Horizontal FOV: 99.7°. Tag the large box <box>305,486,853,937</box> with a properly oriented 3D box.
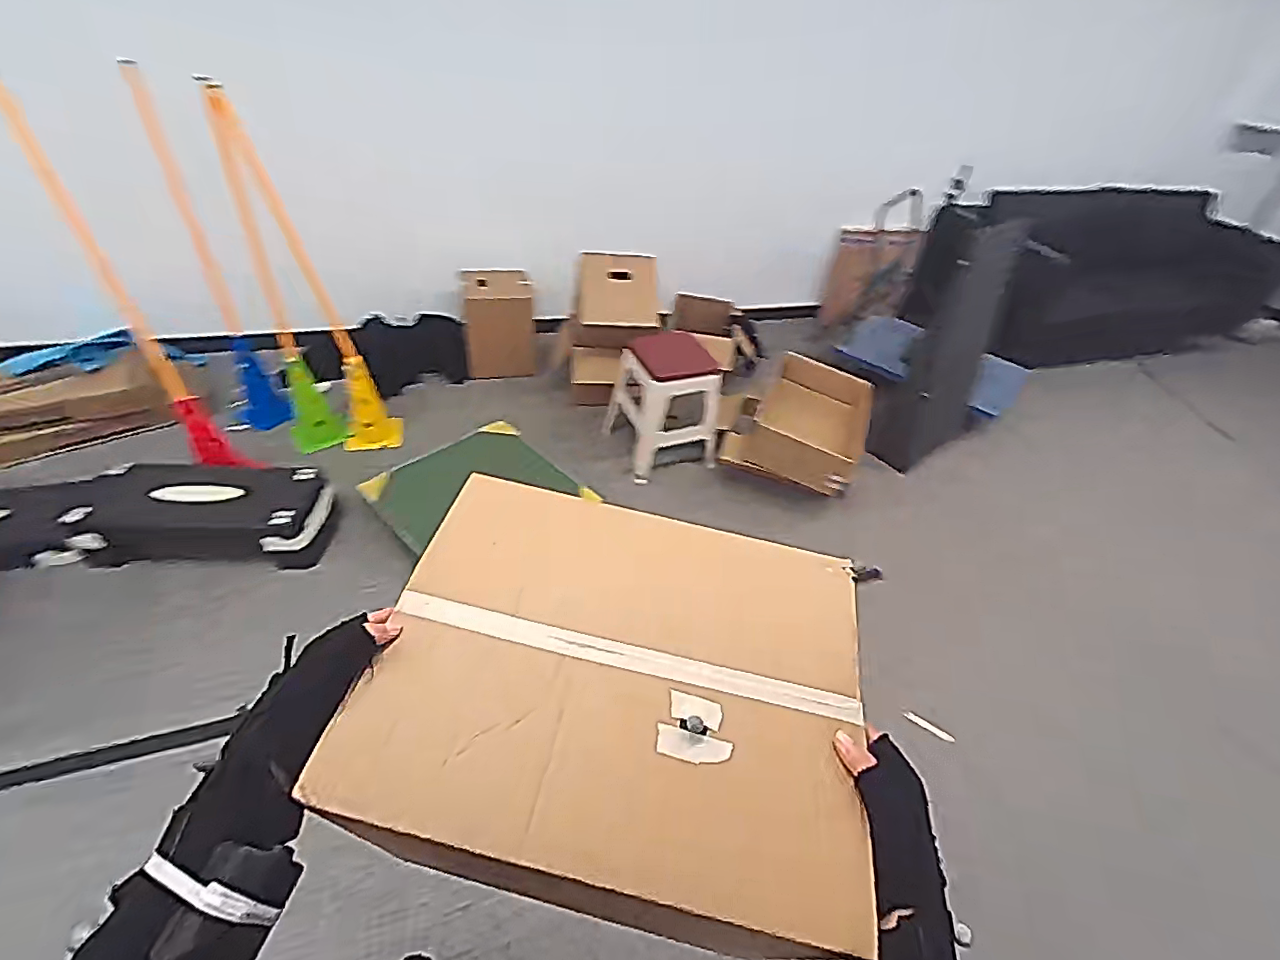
[{"bbox_3d":[-0.039,0.252,0.585,0.408,0.320,0.320,12,49,2],"label":"large box"}]
